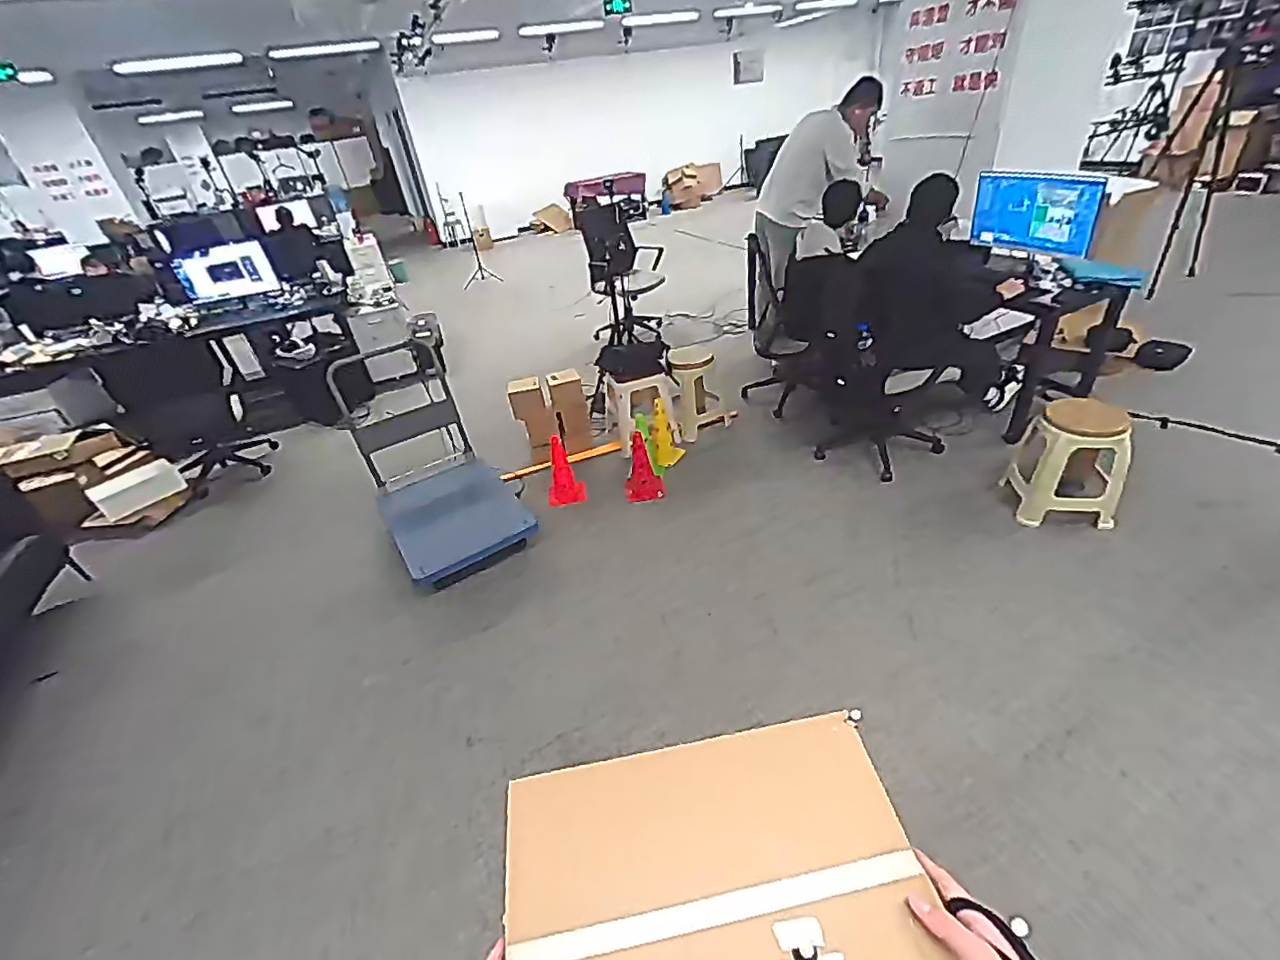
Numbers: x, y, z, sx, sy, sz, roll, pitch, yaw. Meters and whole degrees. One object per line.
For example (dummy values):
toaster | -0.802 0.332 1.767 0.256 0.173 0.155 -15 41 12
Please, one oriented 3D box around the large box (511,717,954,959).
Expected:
large box | 0.085 0.532 0.619 0.408 0.320 0.320 -10 42 -5
